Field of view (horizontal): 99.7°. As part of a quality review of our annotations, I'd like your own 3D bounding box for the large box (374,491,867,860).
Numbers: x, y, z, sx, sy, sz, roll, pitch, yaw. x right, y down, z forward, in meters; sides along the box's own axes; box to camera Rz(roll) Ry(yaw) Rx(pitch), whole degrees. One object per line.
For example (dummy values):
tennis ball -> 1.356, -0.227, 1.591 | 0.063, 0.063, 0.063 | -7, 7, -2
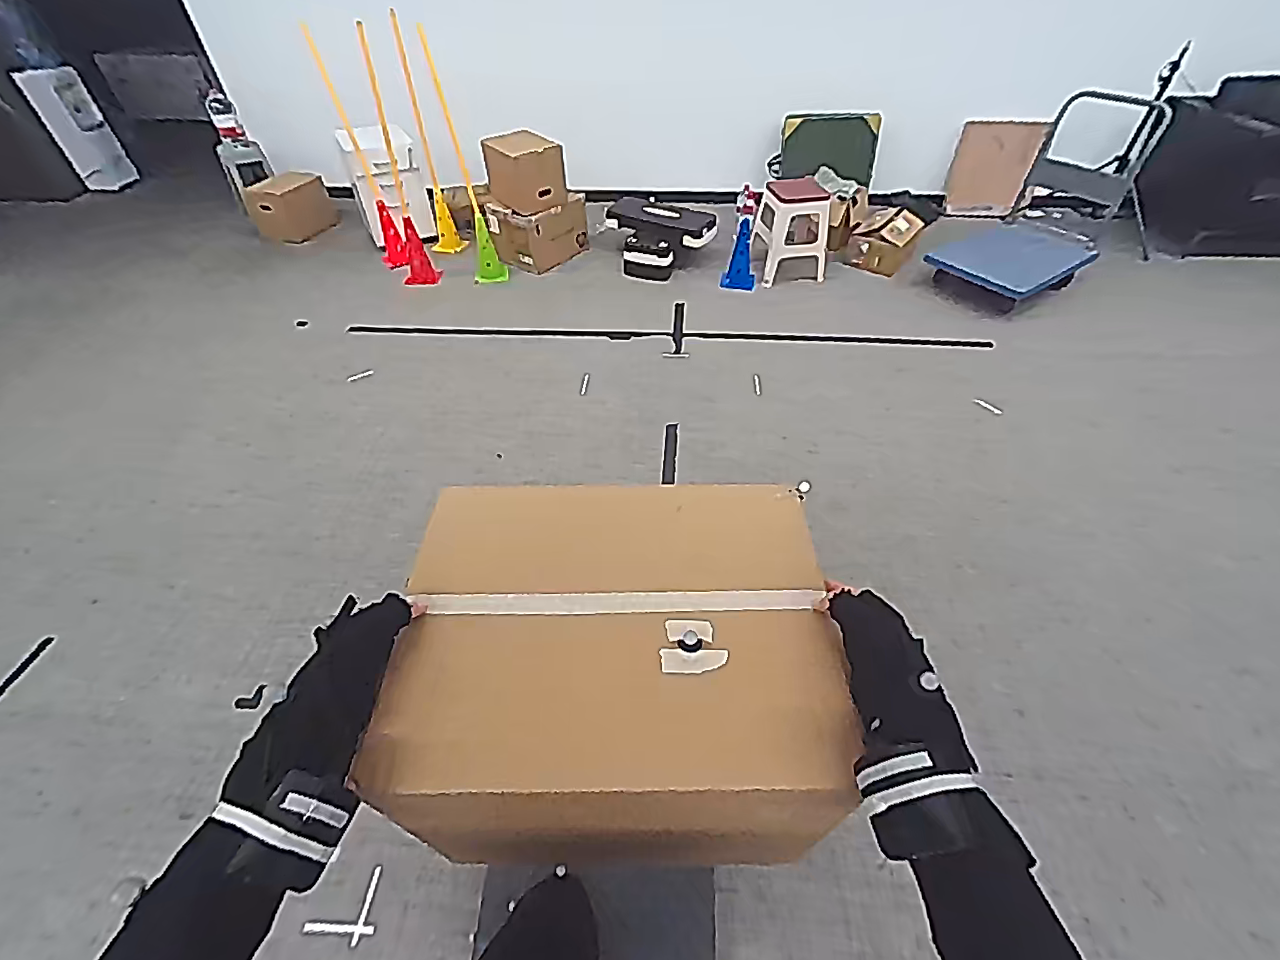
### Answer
large box -> -0.018, 0.229, 0.637 | 0.408, 0.320, 0.320 | 0, 46, 0
